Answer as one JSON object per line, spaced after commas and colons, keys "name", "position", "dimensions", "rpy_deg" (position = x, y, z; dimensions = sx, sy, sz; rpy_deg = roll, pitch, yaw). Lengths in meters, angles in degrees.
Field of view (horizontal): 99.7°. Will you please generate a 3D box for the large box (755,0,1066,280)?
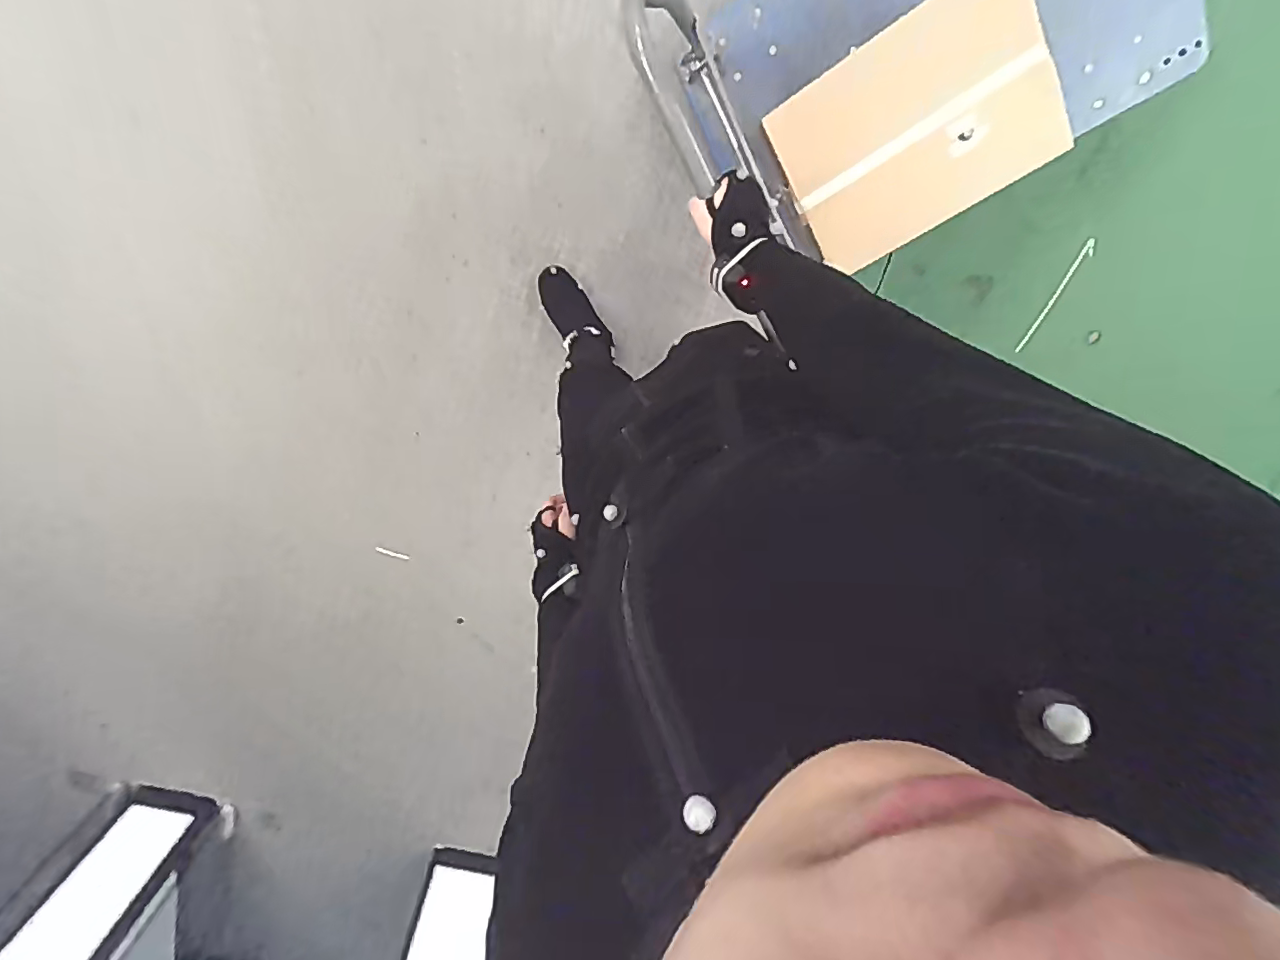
{"name": "large box", "position": [0.472, -0.643, 1.032], "dimensions": [0.408, 0.320, 0.320], "rpy_deg": [-27, 111, 20]}
